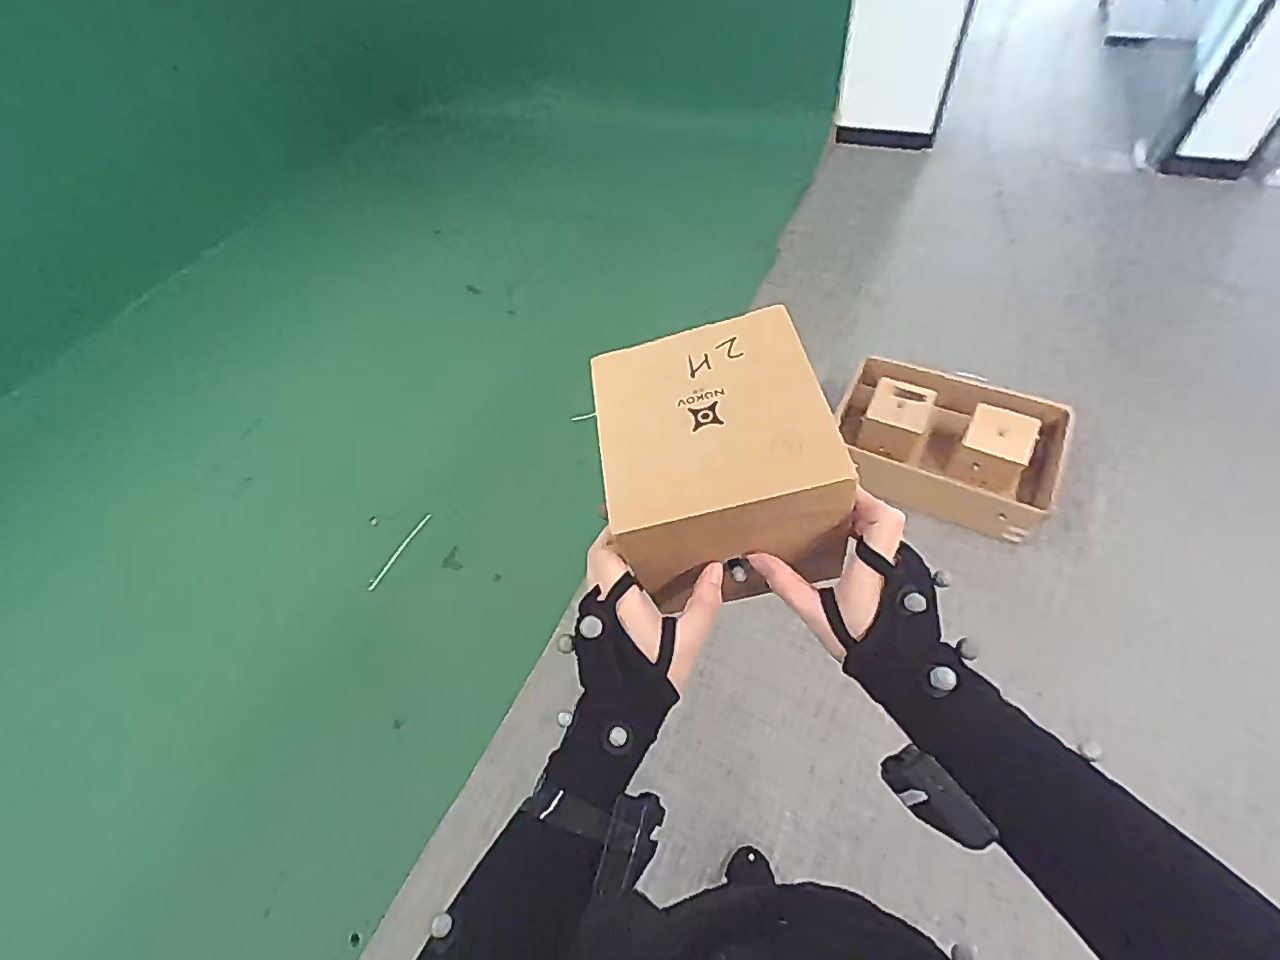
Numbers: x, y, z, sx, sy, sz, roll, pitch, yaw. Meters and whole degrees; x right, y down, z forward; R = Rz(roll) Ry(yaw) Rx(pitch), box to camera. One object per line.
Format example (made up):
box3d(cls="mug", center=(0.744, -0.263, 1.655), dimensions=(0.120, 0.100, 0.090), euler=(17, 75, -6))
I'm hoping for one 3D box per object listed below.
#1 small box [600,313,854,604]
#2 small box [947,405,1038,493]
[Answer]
box3d(cls="small box", center=(0.072, -0.005, 0.465), dimensions=(0.168, 0.176, 0.179), euler=(-13, 55, 8))
box3d(cls="small box", center=(1.046, -0.089, 1.616), dimensions=(0.168, 0.176, 0.179), euler=(23, 65, 23))
